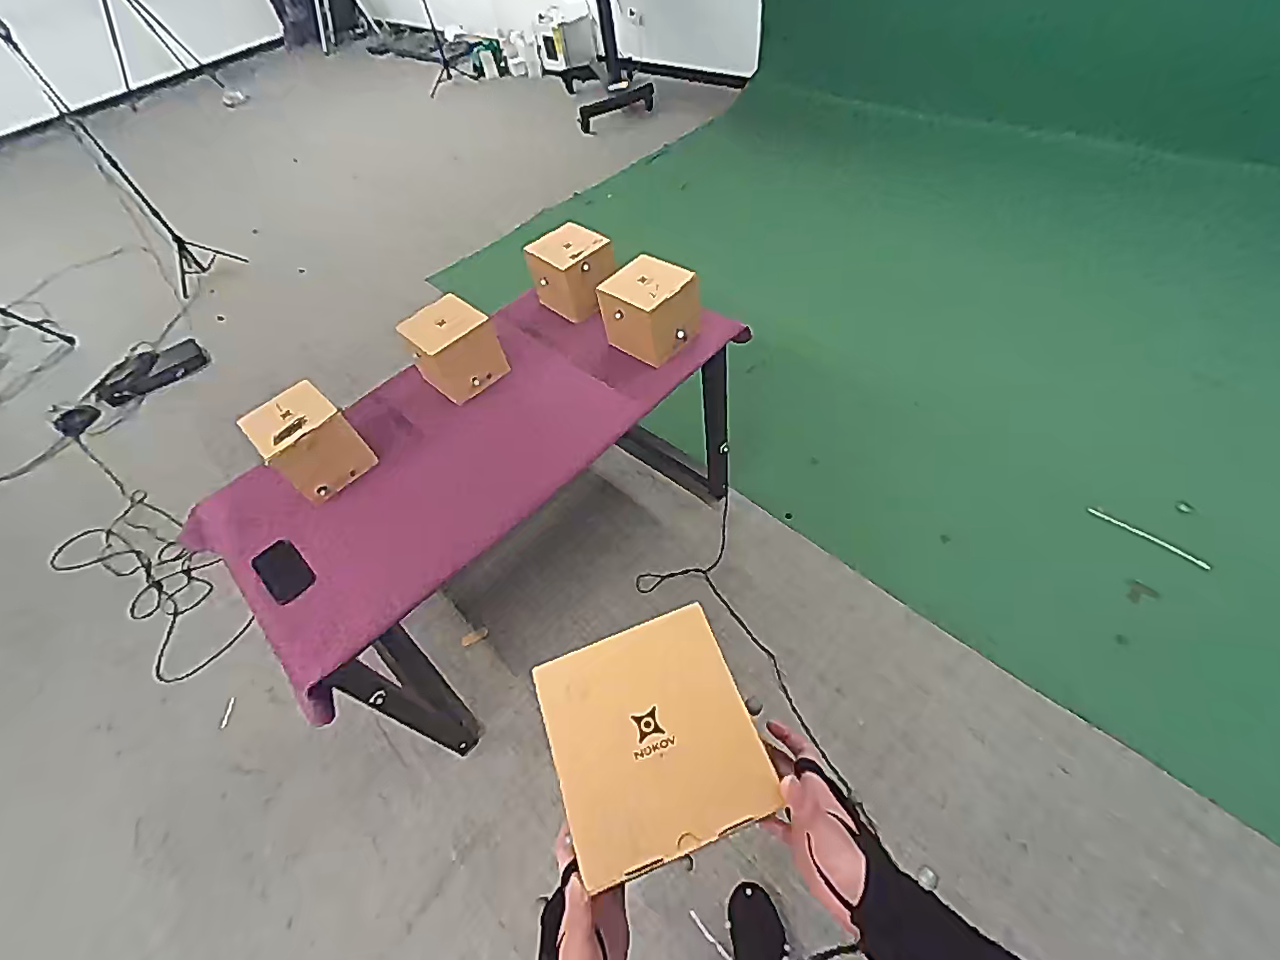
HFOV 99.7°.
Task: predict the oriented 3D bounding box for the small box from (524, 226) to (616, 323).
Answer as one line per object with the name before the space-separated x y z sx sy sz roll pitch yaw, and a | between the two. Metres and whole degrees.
small box | -0.181 -0.556 1.470 0.168 0.176 0.179 -41 56 -19

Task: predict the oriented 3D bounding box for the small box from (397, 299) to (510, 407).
small box | -0.455 -0.312 1.338 0.168 0.176 0.179 -42 58 -20

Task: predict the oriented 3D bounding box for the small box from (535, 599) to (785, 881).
small box | 0.016 0.246 0.515 0.168 0.176 0.179 -21 57 -5

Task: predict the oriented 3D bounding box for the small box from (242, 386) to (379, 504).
small box | -0.721 -0.071 1.201 0.179 0.176 0.168 34 66 31

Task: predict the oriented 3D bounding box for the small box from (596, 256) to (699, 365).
small box | 0.024 -0.408 1.313 0.179 0.176 0.168 34 67 31
